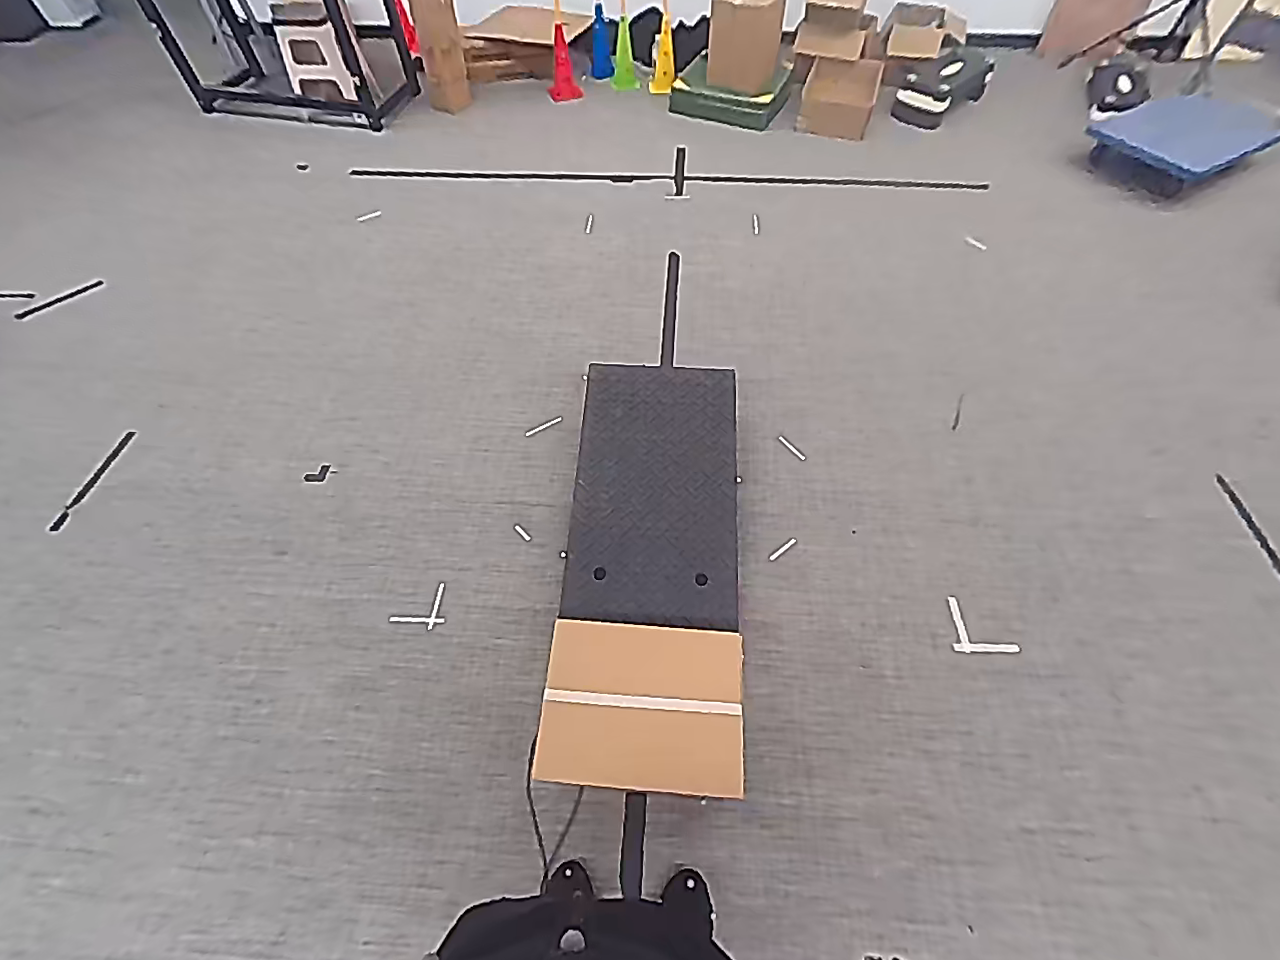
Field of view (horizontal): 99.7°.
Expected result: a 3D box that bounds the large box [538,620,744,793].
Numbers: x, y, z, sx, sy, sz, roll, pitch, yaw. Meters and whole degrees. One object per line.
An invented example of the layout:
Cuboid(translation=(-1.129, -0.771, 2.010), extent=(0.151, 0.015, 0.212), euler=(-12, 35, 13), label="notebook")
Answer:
Cuboid(translation=(0.013, 0.522, 1.235), extent=(0.408, 0.320, 0.320), euler=(3, 60, 3), label="large box")

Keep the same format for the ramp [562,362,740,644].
Cuboid(translation=(0.050, 0.073, 1.617), extent=(0.509, 0.206, 0.991), euler=(2, 56, 0), label="ramp")
